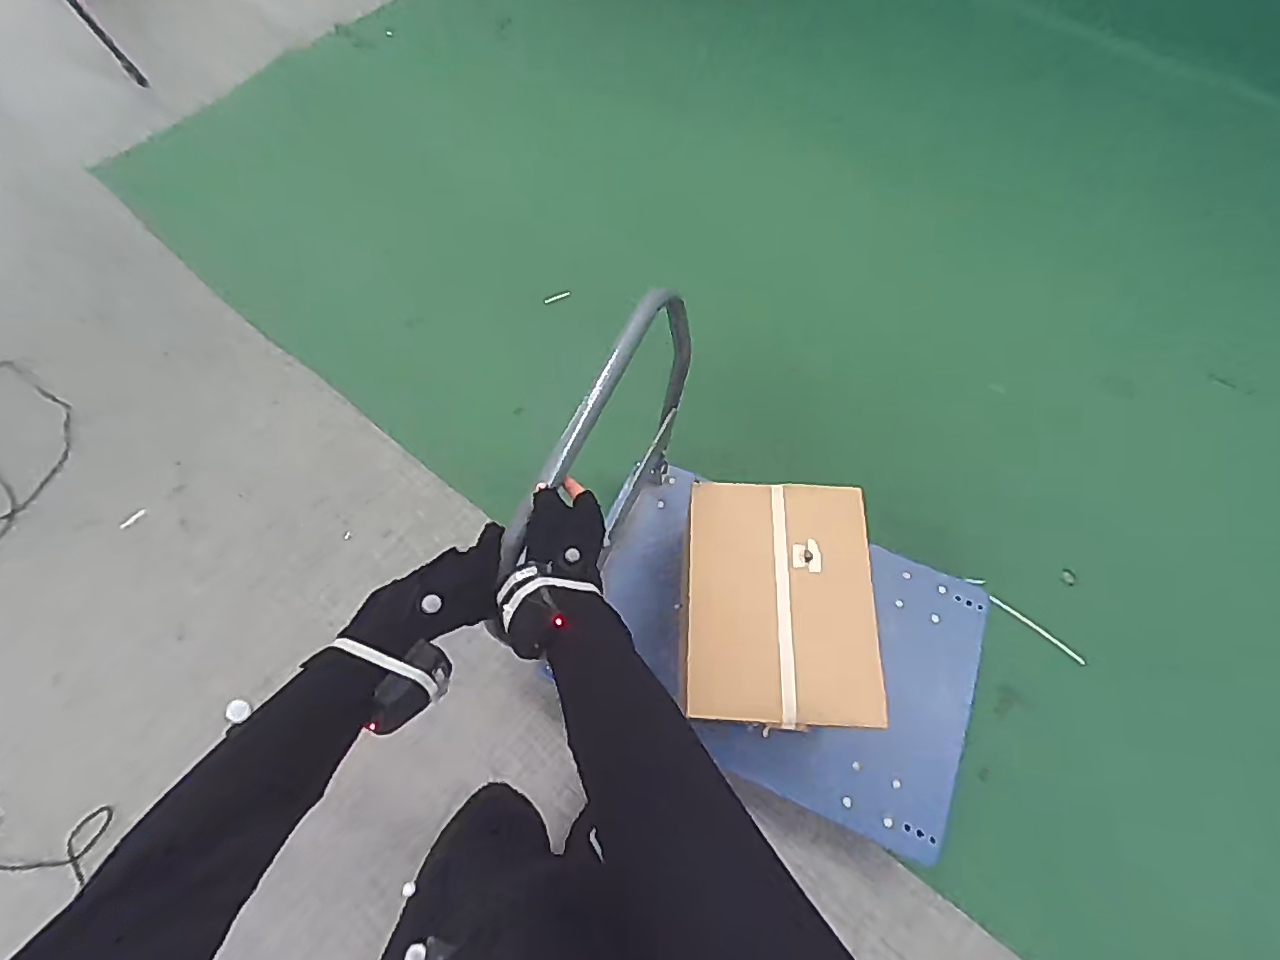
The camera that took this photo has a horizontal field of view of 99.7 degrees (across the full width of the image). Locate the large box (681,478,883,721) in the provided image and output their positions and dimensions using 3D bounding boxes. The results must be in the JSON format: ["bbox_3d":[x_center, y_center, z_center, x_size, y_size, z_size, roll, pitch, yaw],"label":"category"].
[{"bbox_3d":[0.241,0.246,1.057,0.320,0.320,0.408,4,66,3],"label":"large box"}]
